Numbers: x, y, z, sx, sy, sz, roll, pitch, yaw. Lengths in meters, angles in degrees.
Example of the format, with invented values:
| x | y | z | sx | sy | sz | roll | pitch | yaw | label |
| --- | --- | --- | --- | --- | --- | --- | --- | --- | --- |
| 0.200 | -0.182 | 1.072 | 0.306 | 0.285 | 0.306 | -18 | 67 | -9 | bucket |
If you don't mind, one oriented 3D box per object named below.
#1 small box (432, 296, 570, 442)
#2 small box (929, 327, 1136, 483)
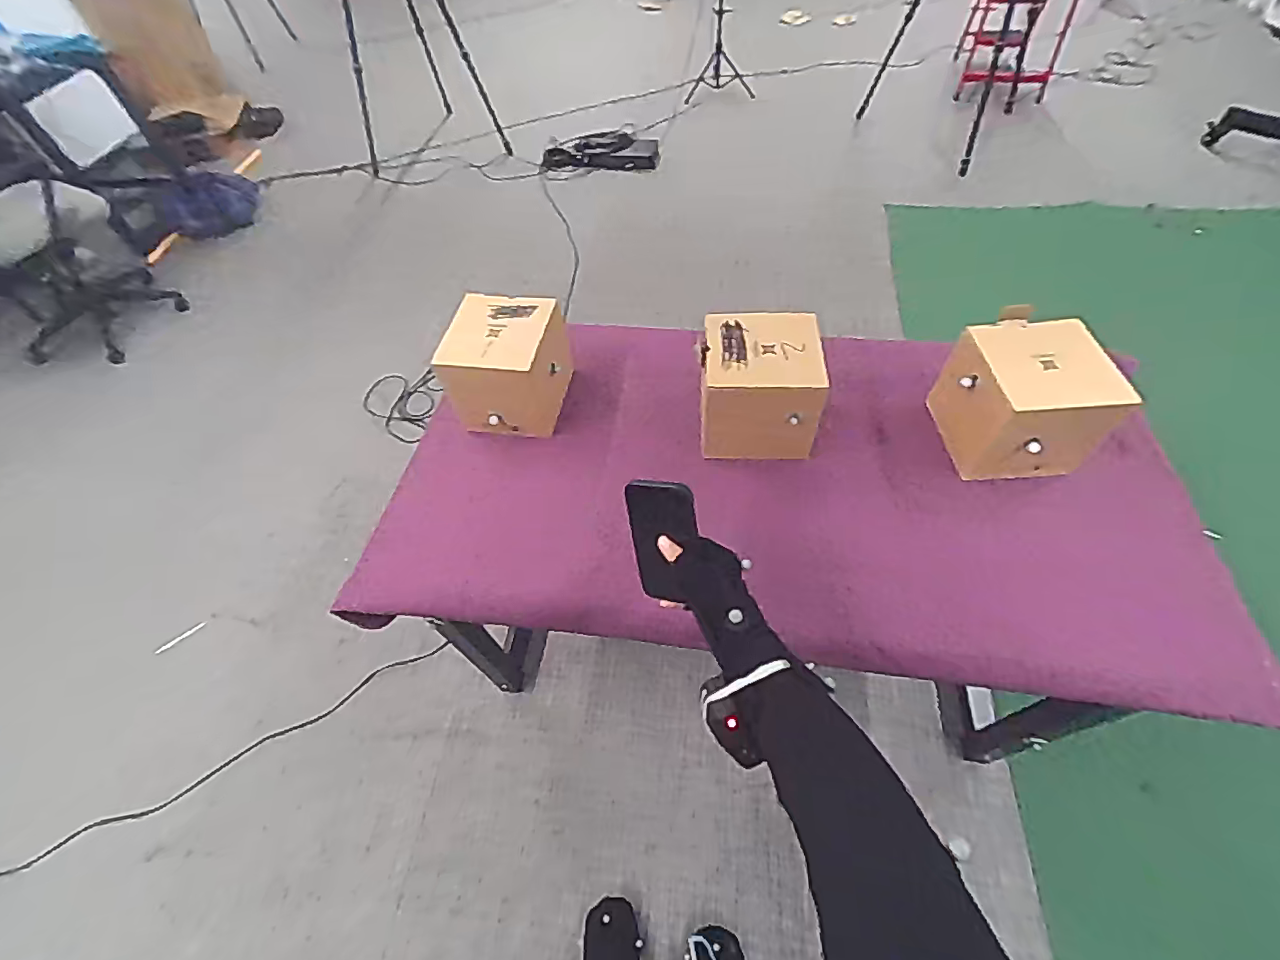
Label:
| x | y | z | sx | sy | sz | roll | pitch | yaw | label |
| --- | --- | --- | --- | --- | --- | --- | --- | --- | --- |
| -0.227 | -0.192 | 0.940 | 0.168 | 0.176 | 0.179 | 6 | 57 | 9 | small box |
| 0.574 | -0.106 | 0.824 | 0.168 | 0.176 | 0.179 | -3 | 54 | 3 | small box |
